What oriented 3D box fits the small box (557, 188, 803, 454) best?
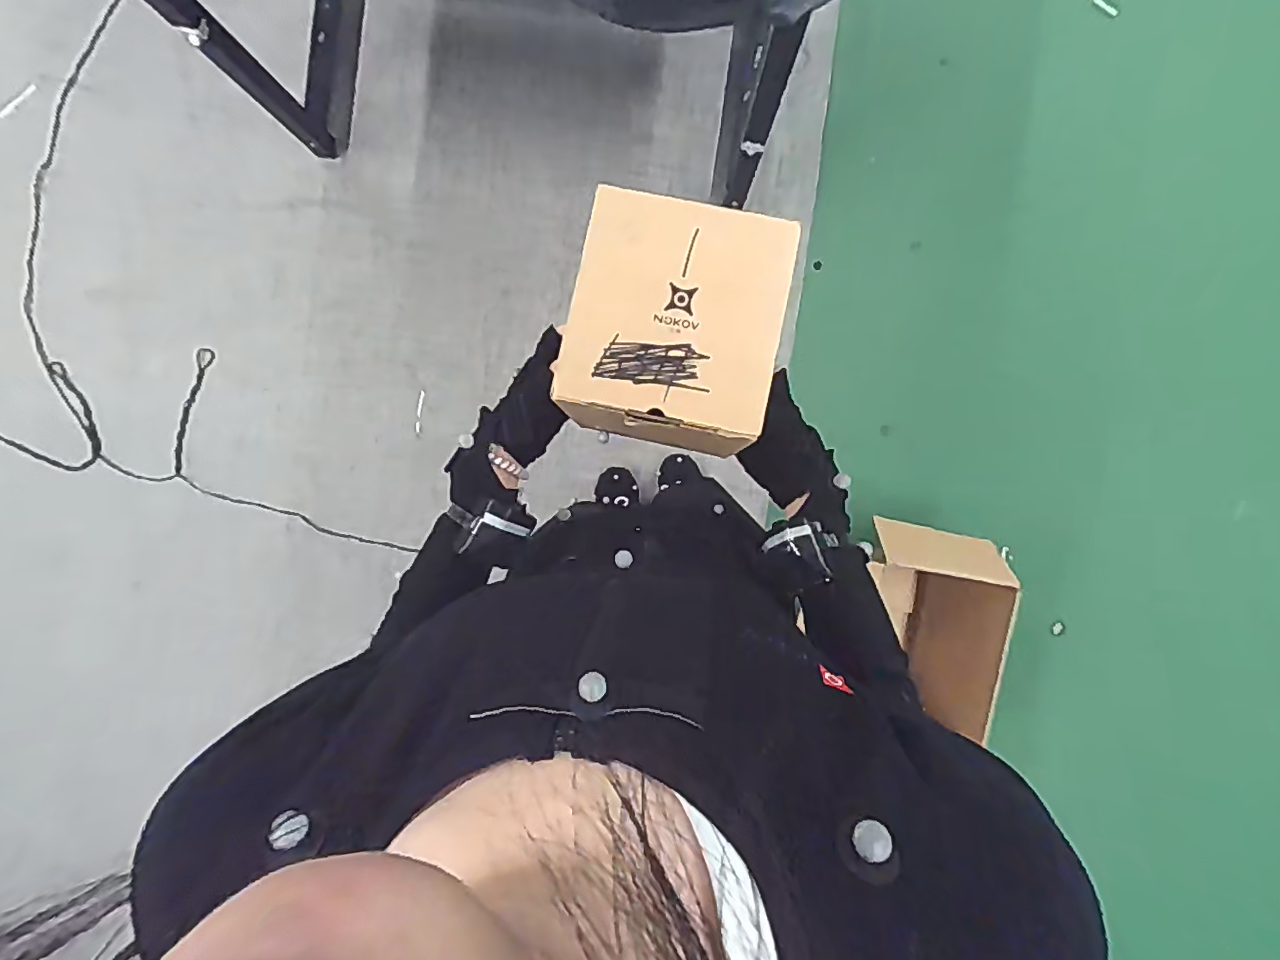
[{"bbox_3d":[0.033,-0.127,0.501,0.168,0.176,0.179,12,87,1],"label":"small box"}]
